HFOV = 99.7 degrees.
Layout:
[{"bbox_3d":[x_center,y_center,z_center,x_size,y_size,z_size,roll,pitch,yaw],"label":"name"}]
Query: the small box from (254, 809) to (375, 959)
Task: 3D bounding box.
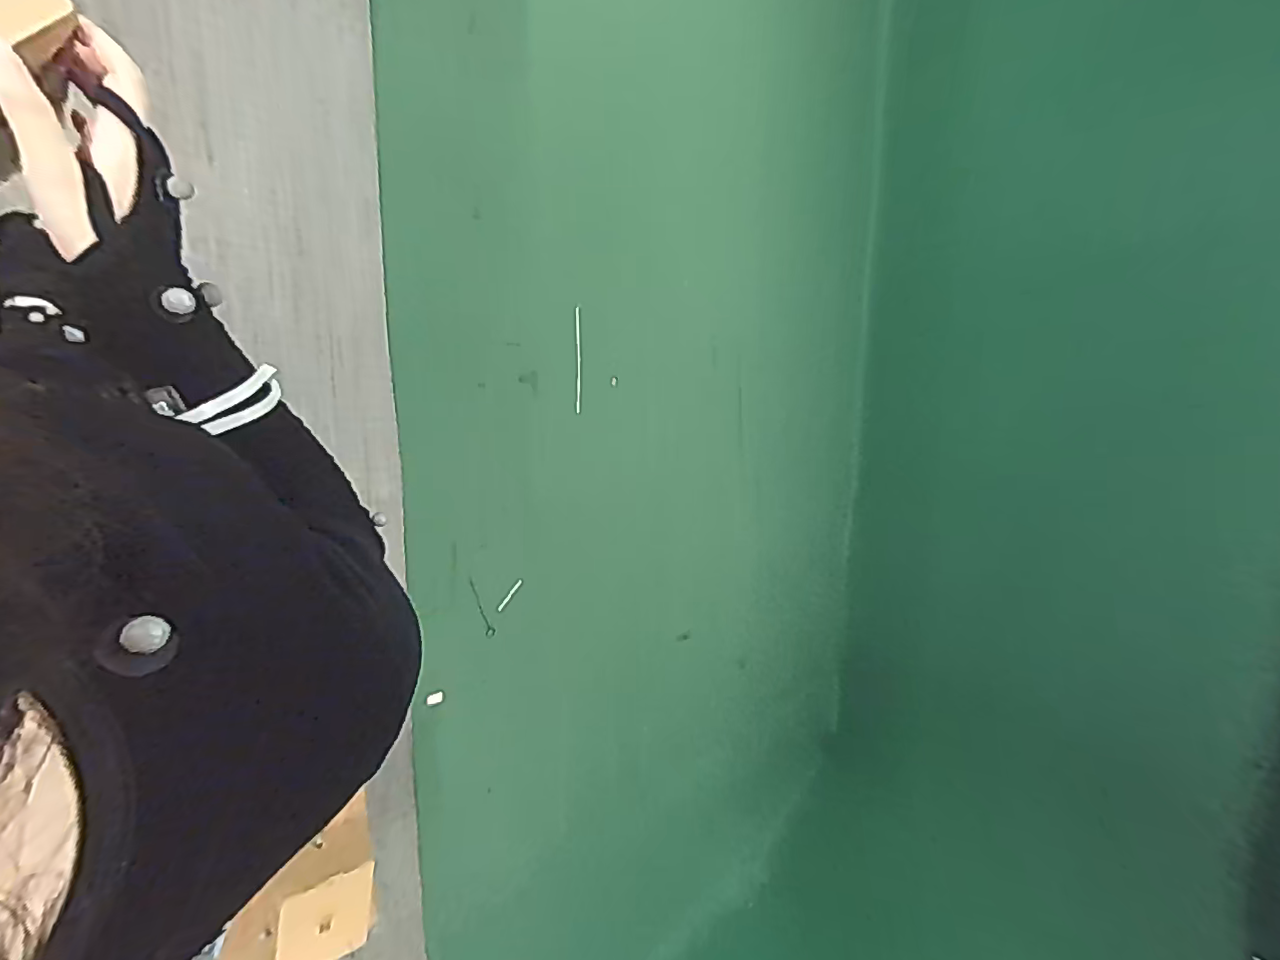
[{"bbox_3d":[-0.663,0.820,1.098,0.168,0.176,0.179,4,94,-49],"label":"small box"}]
